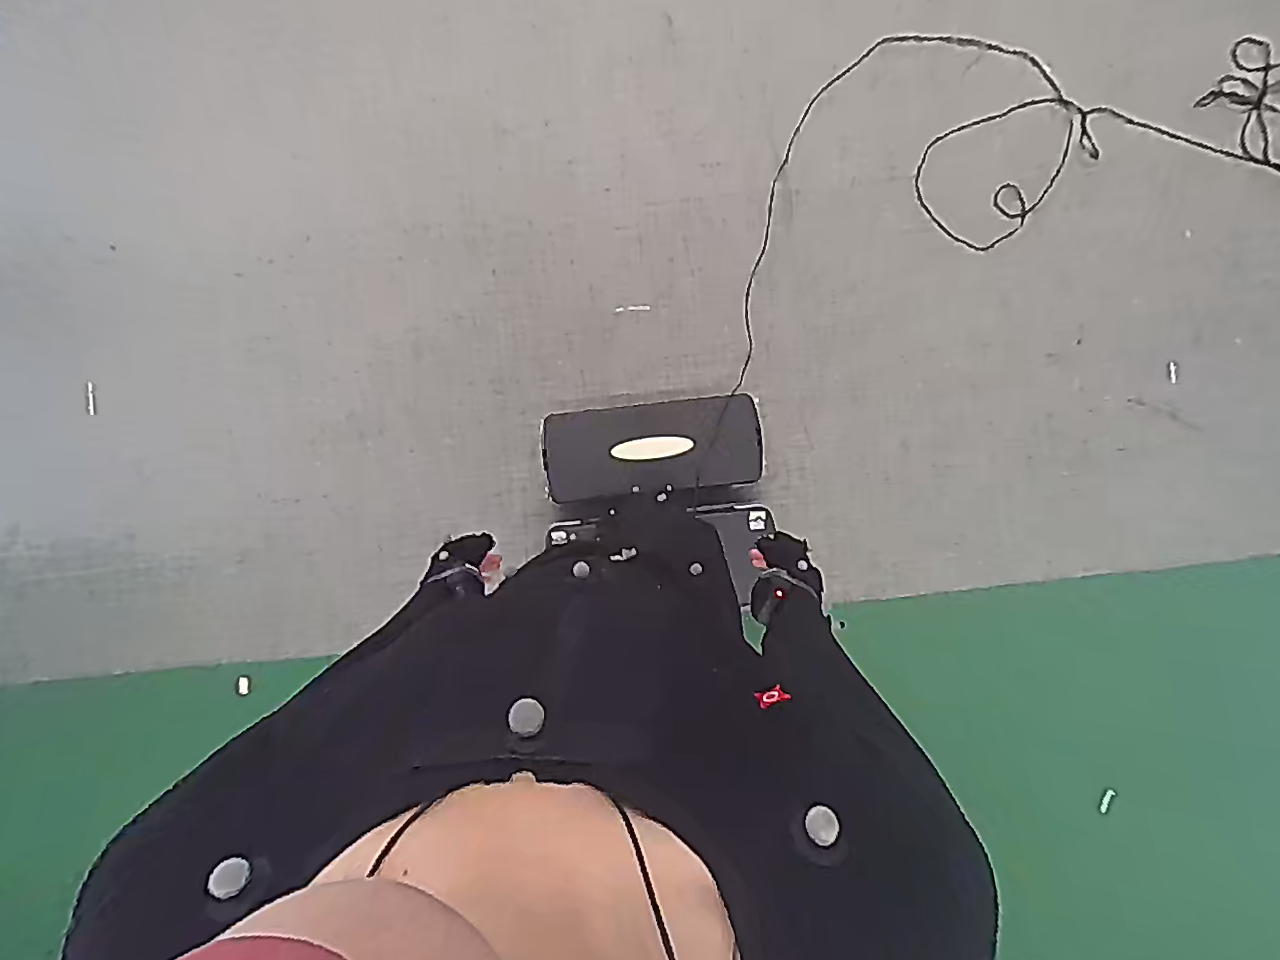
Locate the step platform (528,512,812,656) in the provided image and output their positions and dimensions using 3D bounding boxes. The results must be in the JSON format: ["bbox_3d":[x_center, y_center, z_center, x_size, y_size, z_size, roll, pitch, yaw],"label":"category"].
[{"bbox_3d":[0.070,0.256,1.387,0.684,0.204,0.286,-6,87,-1],"label":"step platform"}]
